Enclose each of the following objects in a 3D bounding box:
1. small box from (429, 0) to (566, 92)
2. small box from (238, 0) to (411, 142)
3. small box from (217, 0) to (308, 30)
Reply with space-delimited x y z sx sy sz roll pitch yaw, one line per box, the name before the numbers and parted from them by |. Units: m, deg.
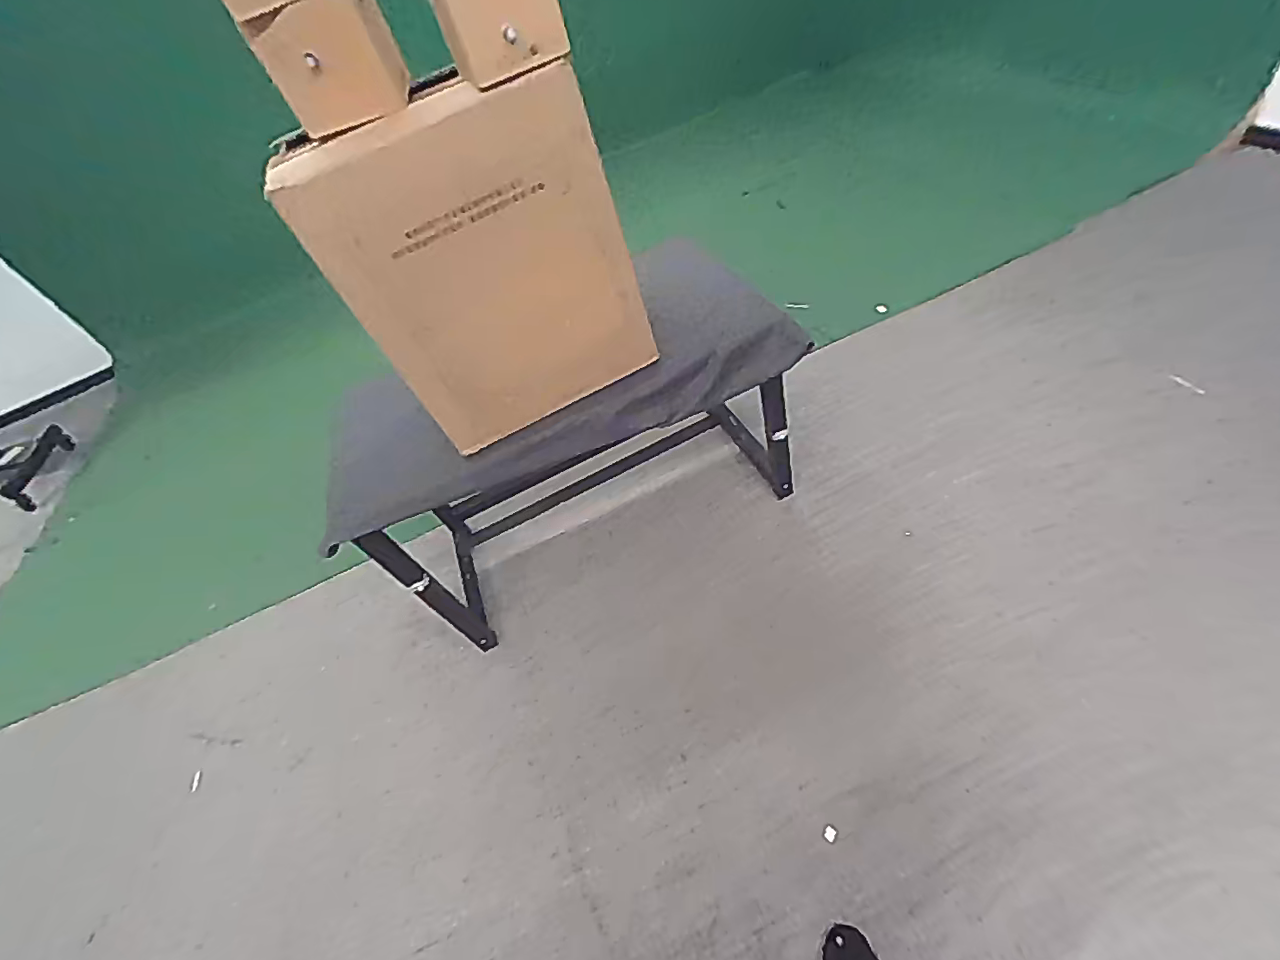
small box | -0.241 -0.759 0.875 0.168 0.176 0.179 -27 48 -6
small box | -0.515 -0.707 0.909 0.179 0.176 0.168 -17 56 4
small box | -0.564 -0.789 0.777 0.179 0.176 0.168 -31 56 -8
